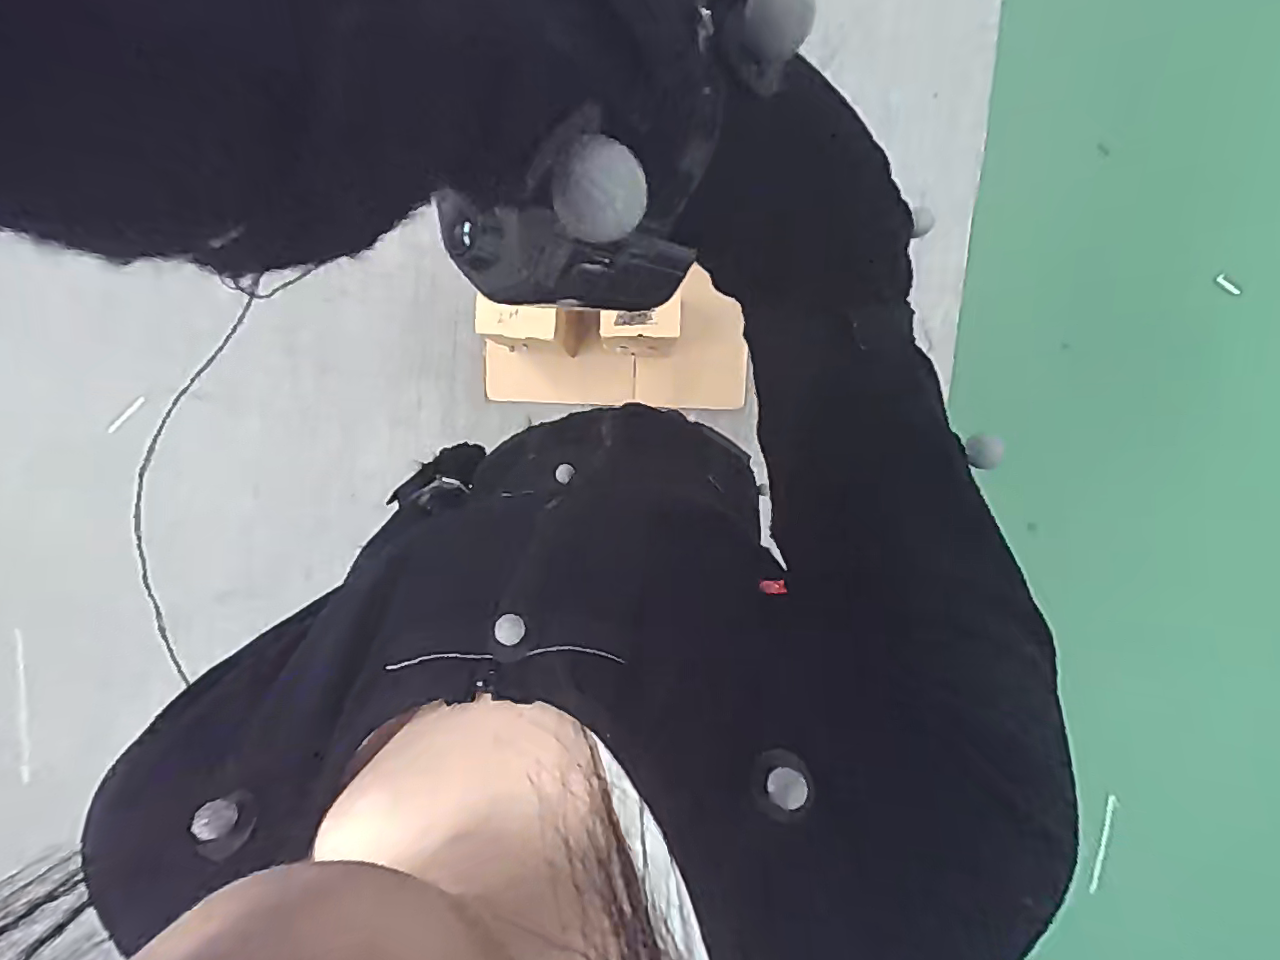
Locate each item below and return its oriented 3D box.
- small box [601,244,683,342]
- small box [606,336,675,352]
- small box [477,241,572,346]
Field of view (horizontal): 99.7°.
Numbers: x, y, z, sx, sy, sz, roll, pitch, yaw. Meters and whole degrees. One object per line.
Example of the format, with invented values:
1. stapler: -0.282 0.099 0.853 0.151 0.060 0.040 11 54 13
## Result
1. small box: 0.004 -0.399 1.177 0.168 0.176 0.179 1 97 0
2. small box: 0.002 -0.417 1.340 0.168 0.176 0.179 1 98 0
3. small box: -0.245 -0.397 1.175 0.168 0.176 0.179 5 97 1
